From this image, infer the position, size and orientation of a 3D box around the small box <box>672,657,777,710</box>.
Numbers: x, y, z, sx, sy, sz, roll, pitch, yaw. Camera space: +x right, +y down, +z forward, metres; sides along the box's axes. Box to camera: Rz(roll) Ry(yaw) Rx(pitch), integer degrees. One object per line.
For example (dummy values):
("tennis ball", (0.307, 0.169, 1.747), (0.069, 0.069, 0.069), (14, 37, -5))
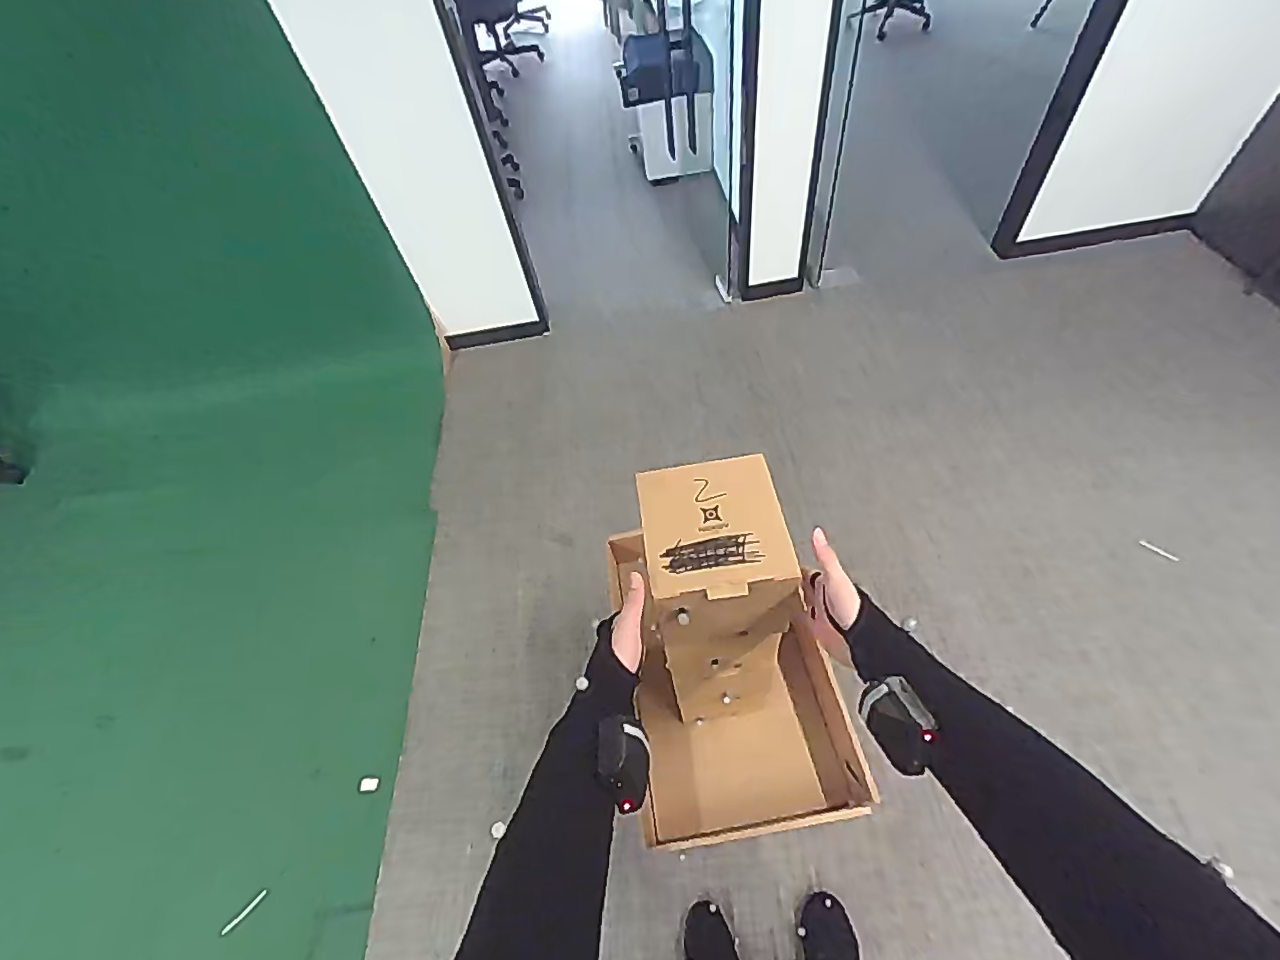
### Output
("small box", (0.131, 0.284, 0.955), (0.168, 0.176, 0.179), (-11, 53, 1))

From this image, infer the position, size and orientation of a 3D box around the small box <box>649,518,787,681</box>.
("small box", (0.111, 0.185, 0.828), (0.168, 0.176, 0.179), (-11, 53, 0))

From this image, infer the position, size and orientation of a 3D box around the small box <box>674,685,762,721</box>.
("small box", (0.149, 0.373, 1.092), (0.168, 0.176, 0.179), (-10, 52, 1))
